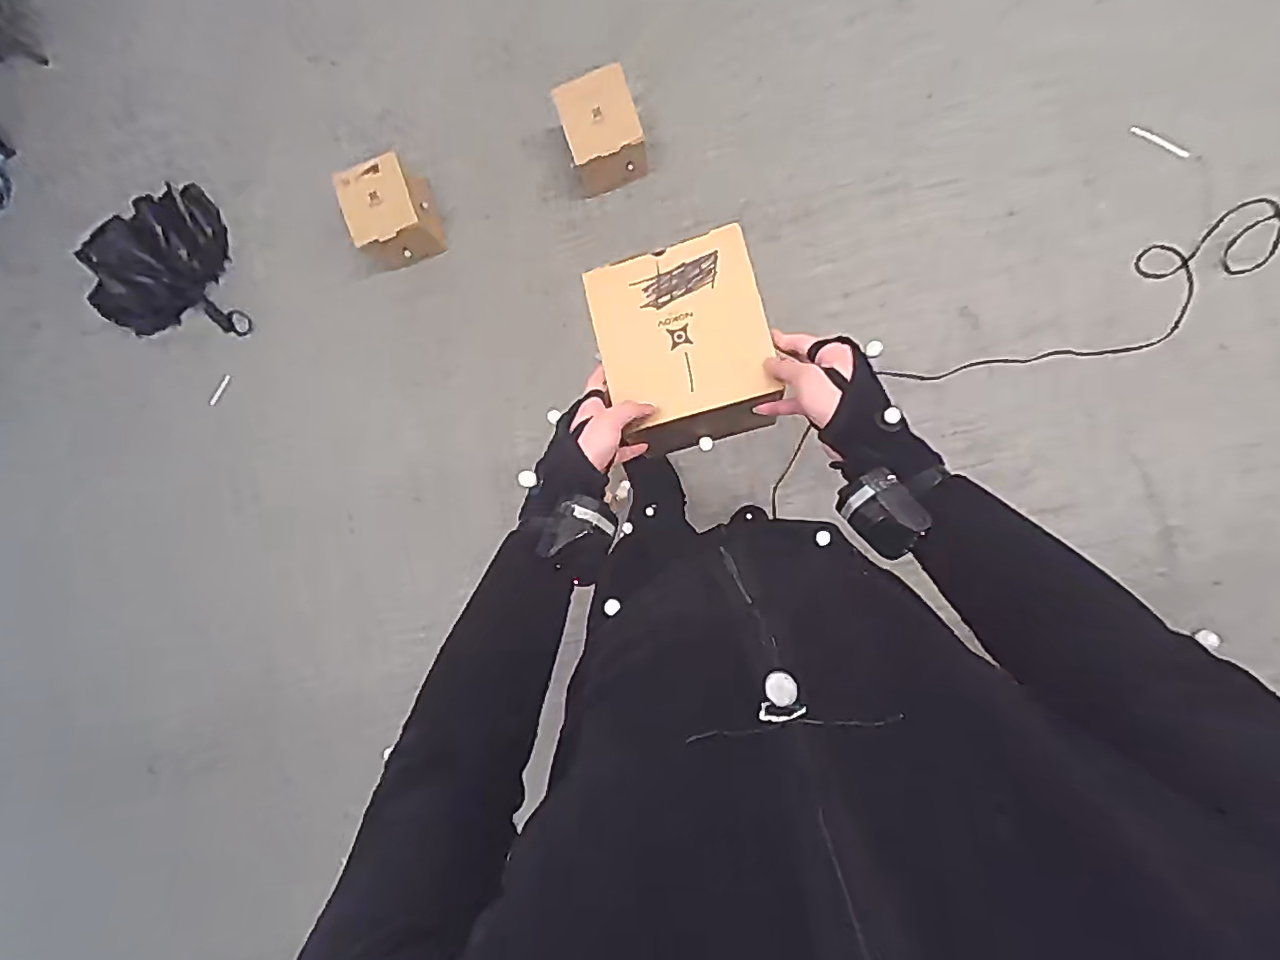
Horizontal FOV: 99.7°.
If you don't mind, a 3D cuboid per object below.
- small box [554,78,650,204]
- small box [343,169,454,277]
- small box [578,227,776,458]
[{"bbox_3d":[-0.081,-0.790,1.288,0.168,0.176,0.179,-20,89,6],"label":"small box"},{"bbox_3d":[-0.594,-0.629,1.353,0.168,0.176,0.179,-18,92,6],"label":"small box"},{"bbox_3d":[0.047,-0.137,0.605,0.168,0.176,0.179,-15,80,11],"label":"small box"}]
